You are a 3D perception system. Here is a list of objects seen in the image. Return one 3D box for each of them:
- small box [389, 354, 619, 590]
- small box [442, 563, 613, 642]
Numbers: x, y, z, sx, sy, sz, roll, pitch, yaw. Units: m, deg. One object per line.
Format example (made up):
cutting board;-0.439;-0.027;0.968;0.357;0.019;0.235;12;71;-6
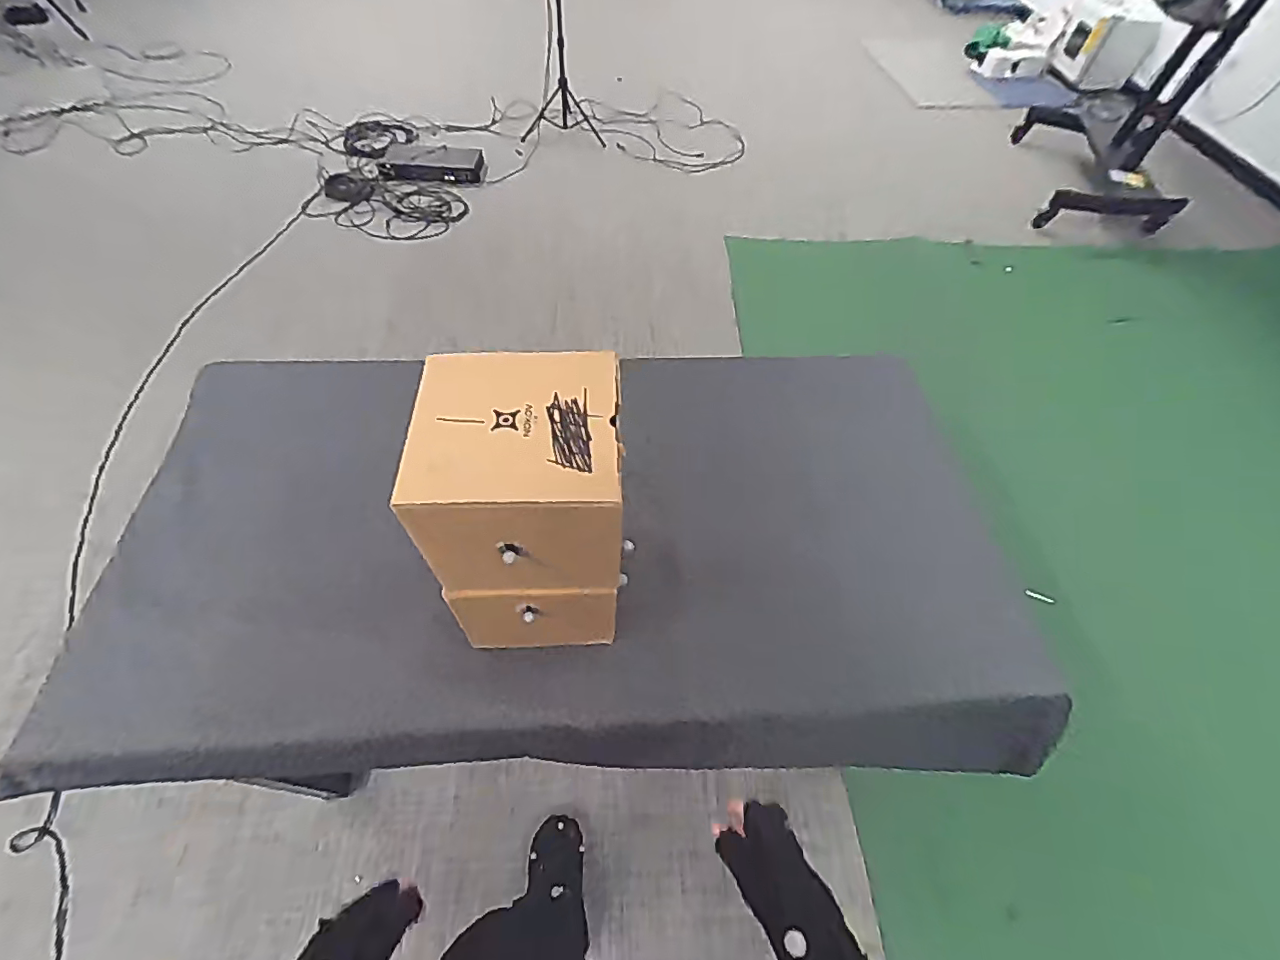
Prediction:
small box;-0.110;-0.001;0.523;0.179;0.176;0.168;-1;57;-3
small box;-0.122;0.092;0.658;0.179;0.176;0.168;0;57;-6
